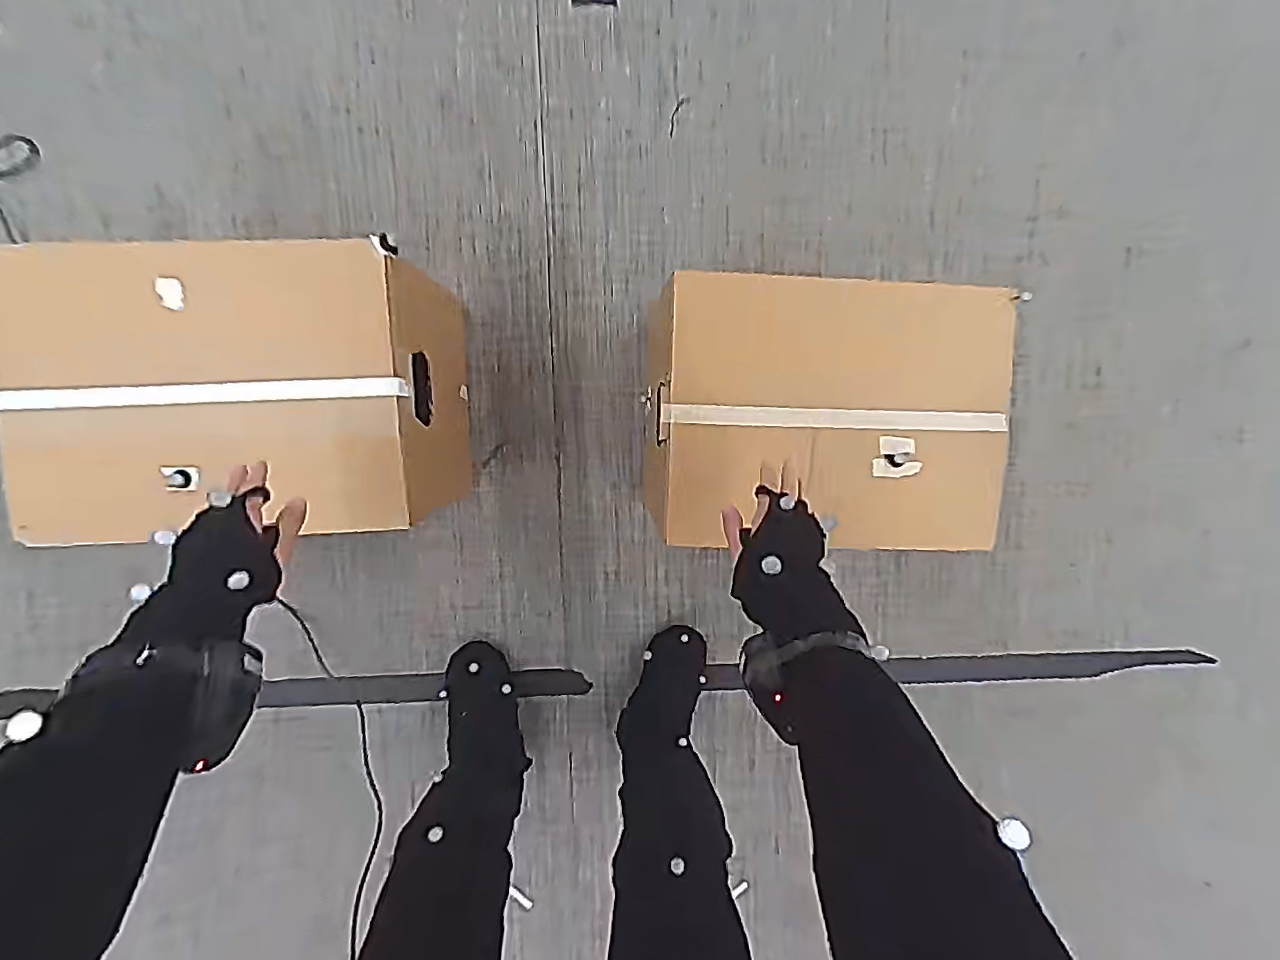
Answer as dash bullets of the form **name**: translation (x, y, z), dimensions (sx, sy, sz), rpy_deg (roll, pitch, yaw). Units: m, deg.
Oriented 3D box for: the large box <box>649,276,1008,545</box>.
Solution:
- **large box**: translation (0.225, -0.089, 0.786), dimensions (0.408, 0.320, 0.320), rpy_deg (1, 96, -5)
